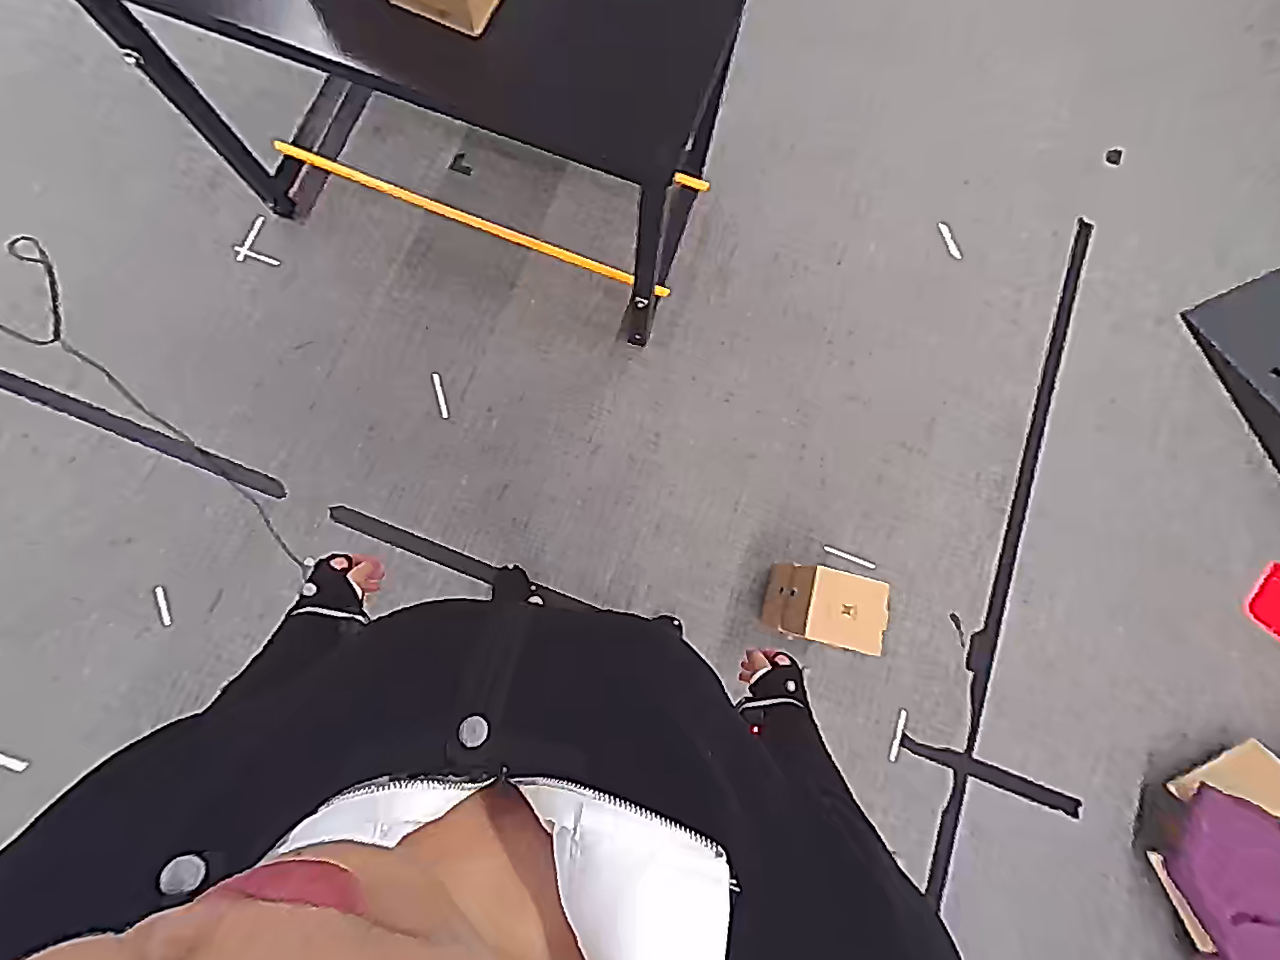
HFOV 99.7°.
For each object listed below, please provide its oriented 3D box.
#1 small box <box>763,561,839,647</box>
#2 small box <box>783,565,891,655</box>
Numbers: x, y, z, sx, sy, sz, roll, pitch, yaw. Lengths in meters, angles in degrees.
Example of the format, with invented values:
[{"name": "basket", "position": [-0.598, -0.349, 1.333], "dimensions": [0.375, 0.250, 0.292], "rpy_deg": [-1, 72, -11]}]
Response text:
[{"name": "small box", "position": [0.441, 0.325, 1.442], "dimensions": [0.168, 0.176, 0.179], "rpy_deg": [18, 81, 0]}, {"name": "small box", "position": [0.461, 0.302, 1.282], "dimensions": [0.179, 0.176, 0.168], "rpy_deg": [14, 79, 1]}]
